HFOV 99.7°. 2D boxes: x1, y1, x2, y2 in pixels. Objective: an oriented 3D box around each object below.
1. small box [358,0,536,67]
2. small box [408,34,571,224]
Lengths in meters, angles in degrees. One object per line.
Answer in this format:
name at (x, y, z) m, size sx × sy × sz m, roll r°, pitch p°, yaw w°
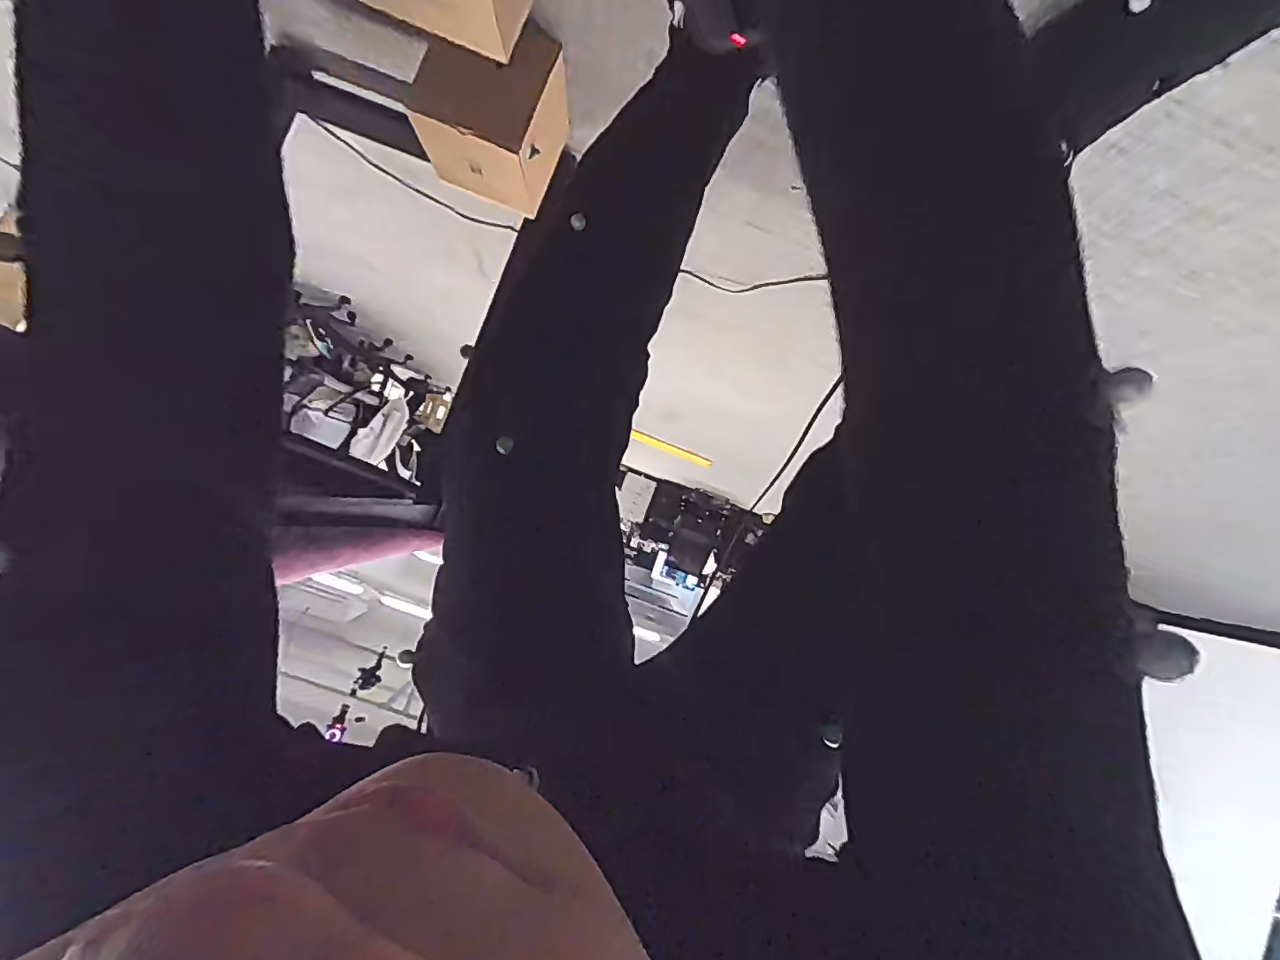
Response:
small box at (-0.179, -0.543, 0.487) m, size 0.168 × 0.176 × 0.179 m, roll 21°, pitch 177°, yaw -3°
small box at (-0.209, -0.531, 0.810) m, size 0.168 × 0.176 × 0.179 m, roll 21°, pitch 176°, yaw -1°
